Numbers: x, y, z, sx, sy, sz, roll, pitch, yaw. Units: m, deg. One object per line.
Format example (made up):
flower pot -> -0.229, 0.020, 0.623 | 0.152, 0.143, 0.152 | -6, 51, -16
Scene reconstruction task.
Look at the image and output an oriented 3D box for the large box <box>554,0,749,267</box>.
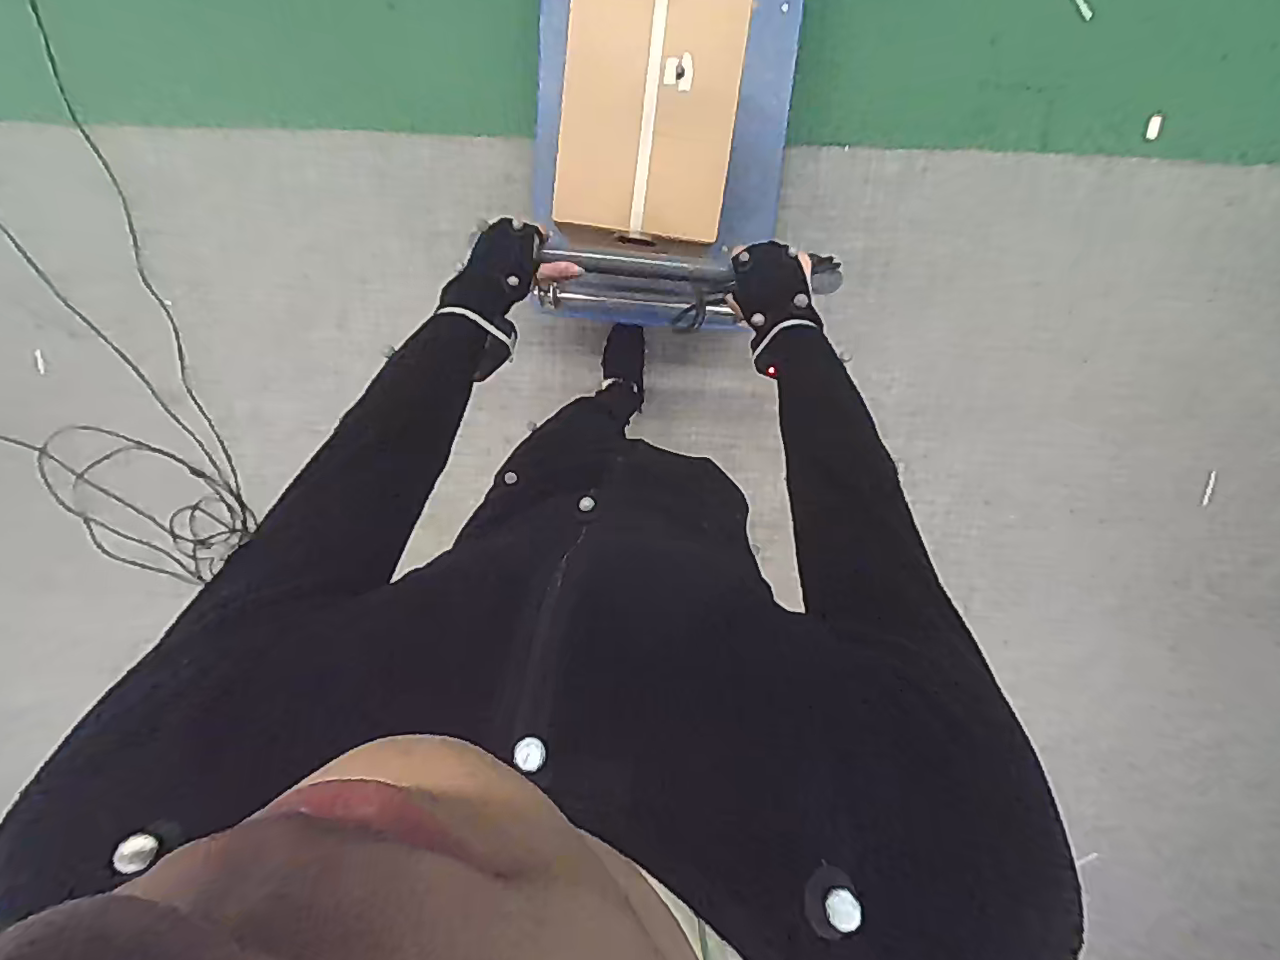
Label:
large box -> 0.017, -0.690, 1.119 | 0.320, 0.320, 0.408 | 8, 103, -2
